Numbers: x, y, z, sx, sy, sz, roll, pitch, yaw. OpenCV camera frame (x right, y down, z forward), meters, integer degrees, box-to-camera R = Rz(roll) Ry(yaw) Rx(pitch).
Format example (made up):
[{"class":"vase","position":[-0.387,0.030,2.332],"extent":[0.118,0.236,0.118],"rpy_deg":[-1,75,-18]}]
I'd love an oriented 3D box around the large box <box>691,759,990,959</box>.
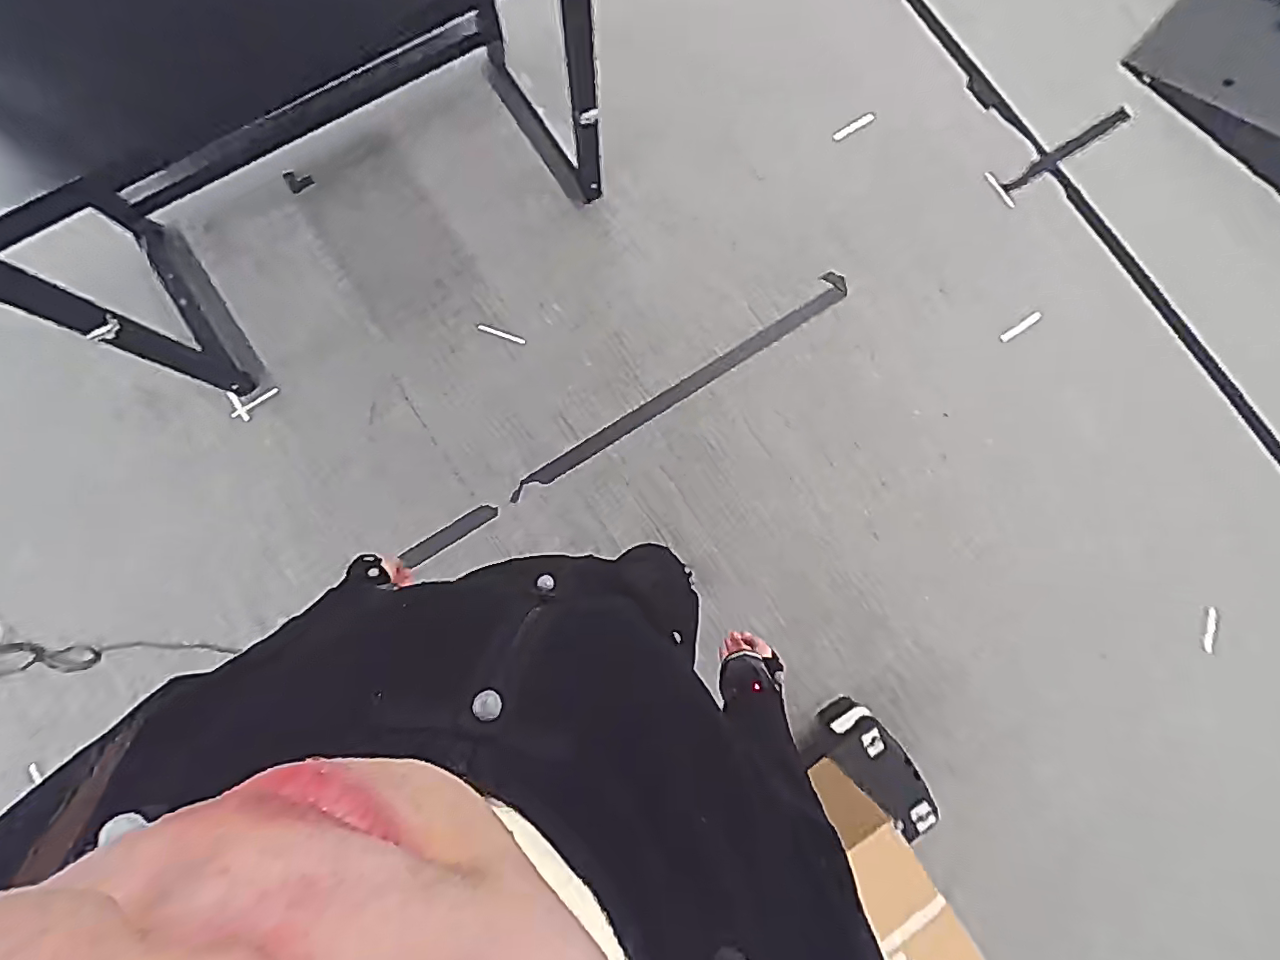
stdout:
[{"class":"large box","position":[0.366,0.859,1.084],"extent":[0.408,0.320,0.320],"rpy_deg":[-33,86,-7]}]
